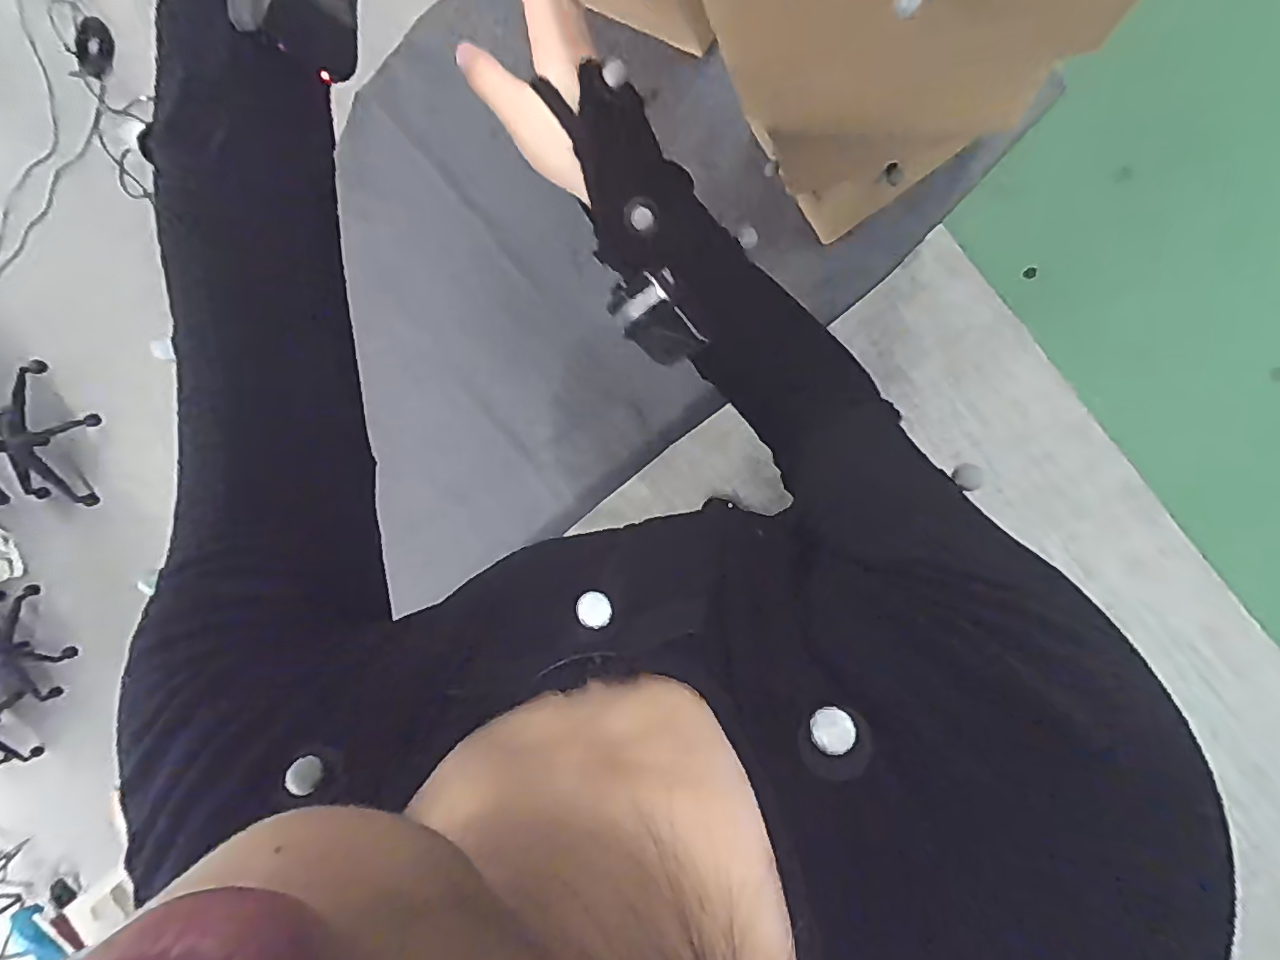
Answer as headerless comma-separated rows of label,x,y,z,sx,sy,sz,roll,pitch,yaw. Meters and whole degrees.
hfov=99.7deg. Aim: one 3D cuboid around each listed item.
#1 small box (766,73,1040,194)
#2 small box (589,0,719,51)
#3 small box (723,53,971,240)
small box,0.163,-0.319,0.357,0.179,0.176,0.168,-9,96,22
small box,0.015,-0.574,0.533,0.179,0.176,0.168,31,113,9
small box,0.209,-0.359,0.509,0.179,0.176,0.168,-32,87,24
